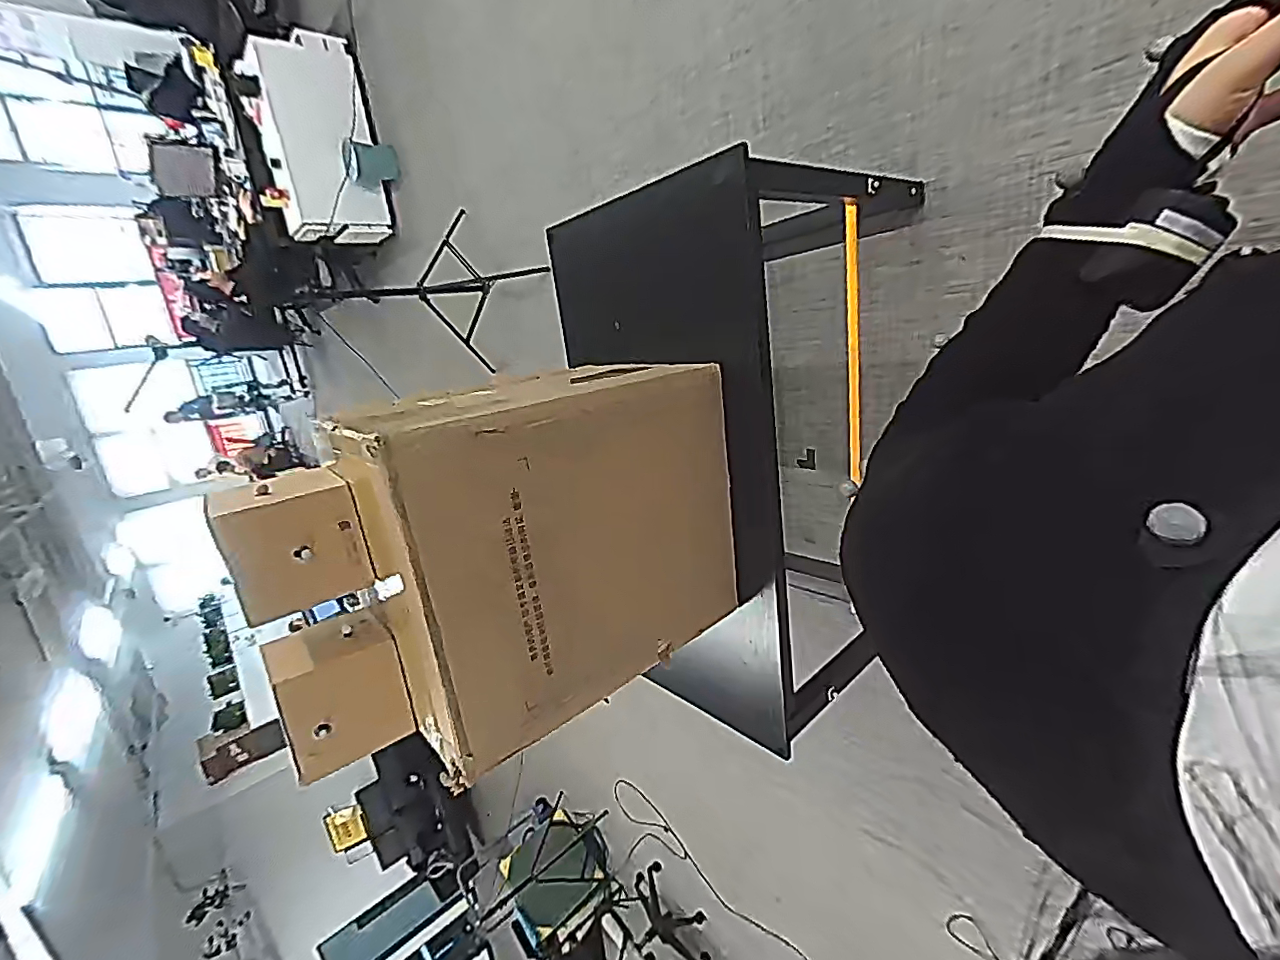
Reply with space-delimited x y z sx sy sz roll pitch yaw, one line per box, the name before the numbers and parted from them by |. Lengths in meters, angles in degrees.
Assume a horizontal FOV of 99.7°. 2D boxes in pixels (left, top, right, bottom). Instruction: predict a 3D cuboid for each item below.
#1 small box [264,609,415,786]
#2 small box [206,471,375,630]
small box | -0.484 0.340 0.881 0.168 0.176 0.179 11 113 50
small box | -0.520 0.092 0.817 0.179 0.176 0.168 13 116 49
